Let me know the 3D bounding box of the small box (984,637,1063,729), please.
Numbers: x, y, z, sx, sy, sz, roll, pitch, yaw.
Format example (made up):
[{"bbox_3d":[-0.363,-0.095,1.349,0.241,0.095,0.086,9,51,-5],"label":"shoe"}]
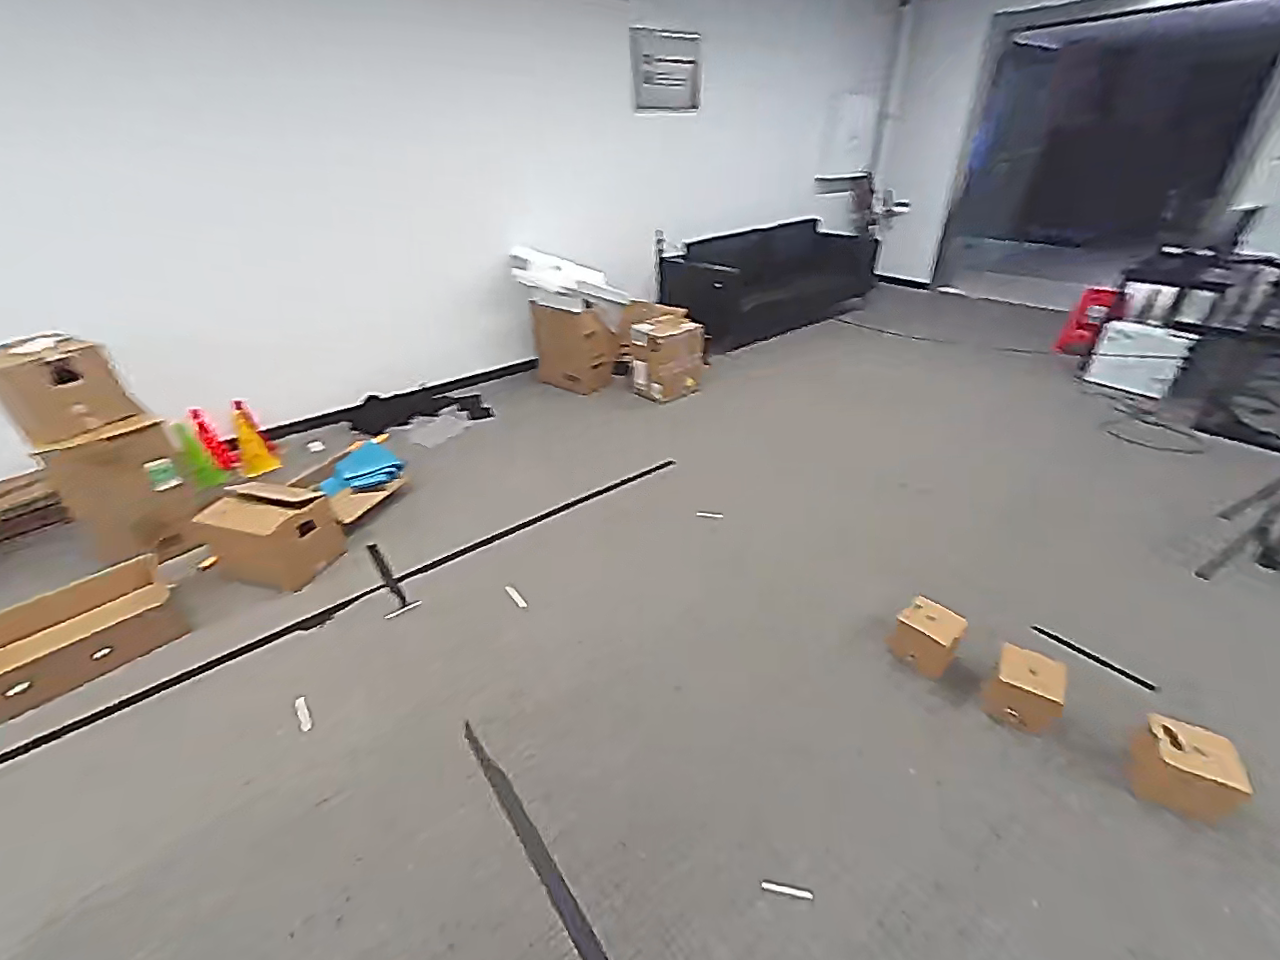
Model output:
[{"bbox_3d":[1.205,0.638,1.704,0.168,0.176,0.179,16,37,29],"label":"small box"}]

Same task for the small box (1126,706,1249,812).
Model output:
[{"bbox_3d":[1.476,0.763,1.478,0.179,0.176,0.168,14,35,23],"label":"small box"}]

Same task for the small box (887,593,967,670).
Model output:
[{"bbox_3d":[0.996,0.535,1.889,0.168,0.176,0.179,-25,38,-32],"label":"small box"}]
